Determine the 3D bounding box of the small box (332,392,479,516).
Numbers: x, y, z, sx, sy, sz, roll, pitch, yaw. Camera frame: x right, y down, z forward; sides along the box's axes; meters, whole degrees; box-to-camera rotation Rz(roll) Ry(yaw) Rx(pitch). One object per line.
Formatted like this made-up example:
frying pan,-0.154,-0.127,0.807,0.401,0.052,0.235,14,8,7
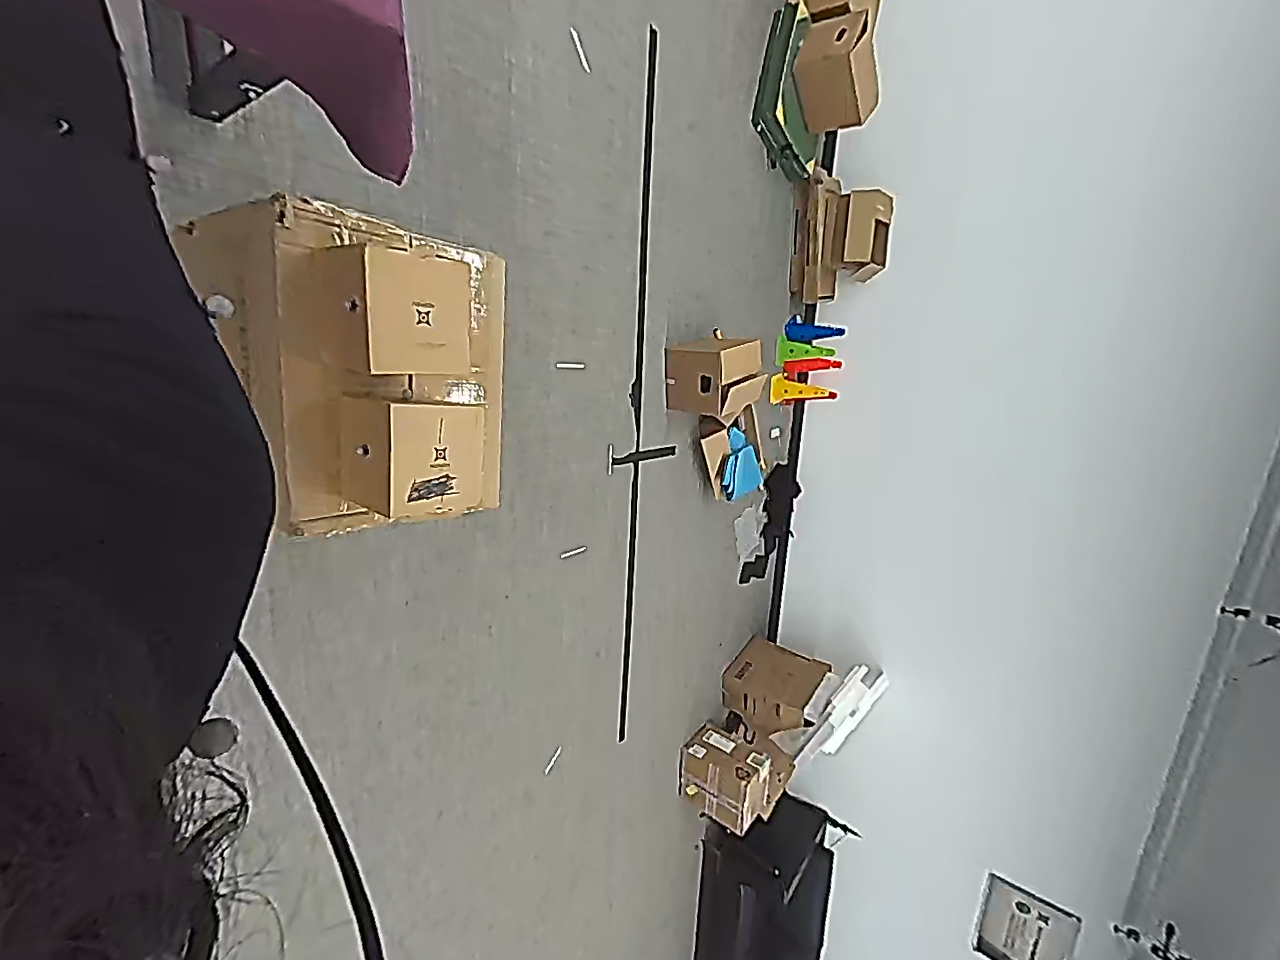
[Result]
small box,-0.391,-0.049,0.901,0.168,0.176,0.179,-7,104,-52

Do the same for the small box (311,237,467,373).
small box,-0.389,-0.264,0.839,0.168,0.176,0.179,-12,111,-50
